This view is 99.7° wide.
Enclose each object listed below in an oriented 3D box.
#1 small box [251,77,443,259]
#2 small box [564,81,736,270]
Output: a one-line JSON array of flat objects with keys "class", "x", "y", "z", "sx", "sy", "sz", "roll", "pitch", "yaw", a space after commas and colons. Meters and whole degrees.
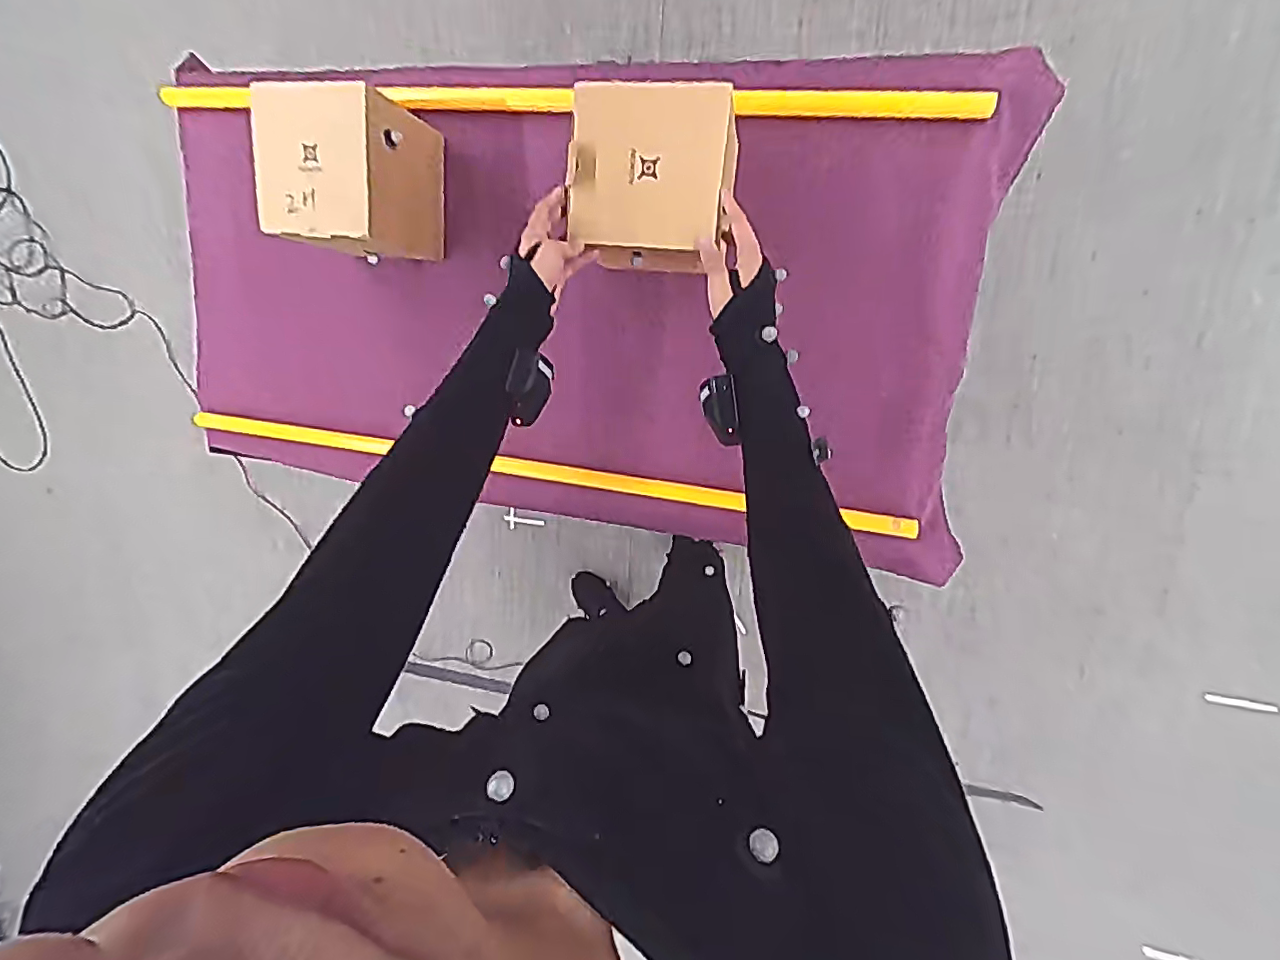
[{"class": "small box", "x": -0.391, "y": -0.418, "z": 0.748, "sx": 0.168, "sy": 0.176, "sz": 0.179, "roll": 8, "pitch": 105, "yaw": 11}, {"class": "small box", "x": 0.021, "y": -0.361, "z": 0.669, "sx": 0.179, "sy": 0.176, "sz": 0.168, "roll": 8, "pitch": 104, "yaw": 12}]
